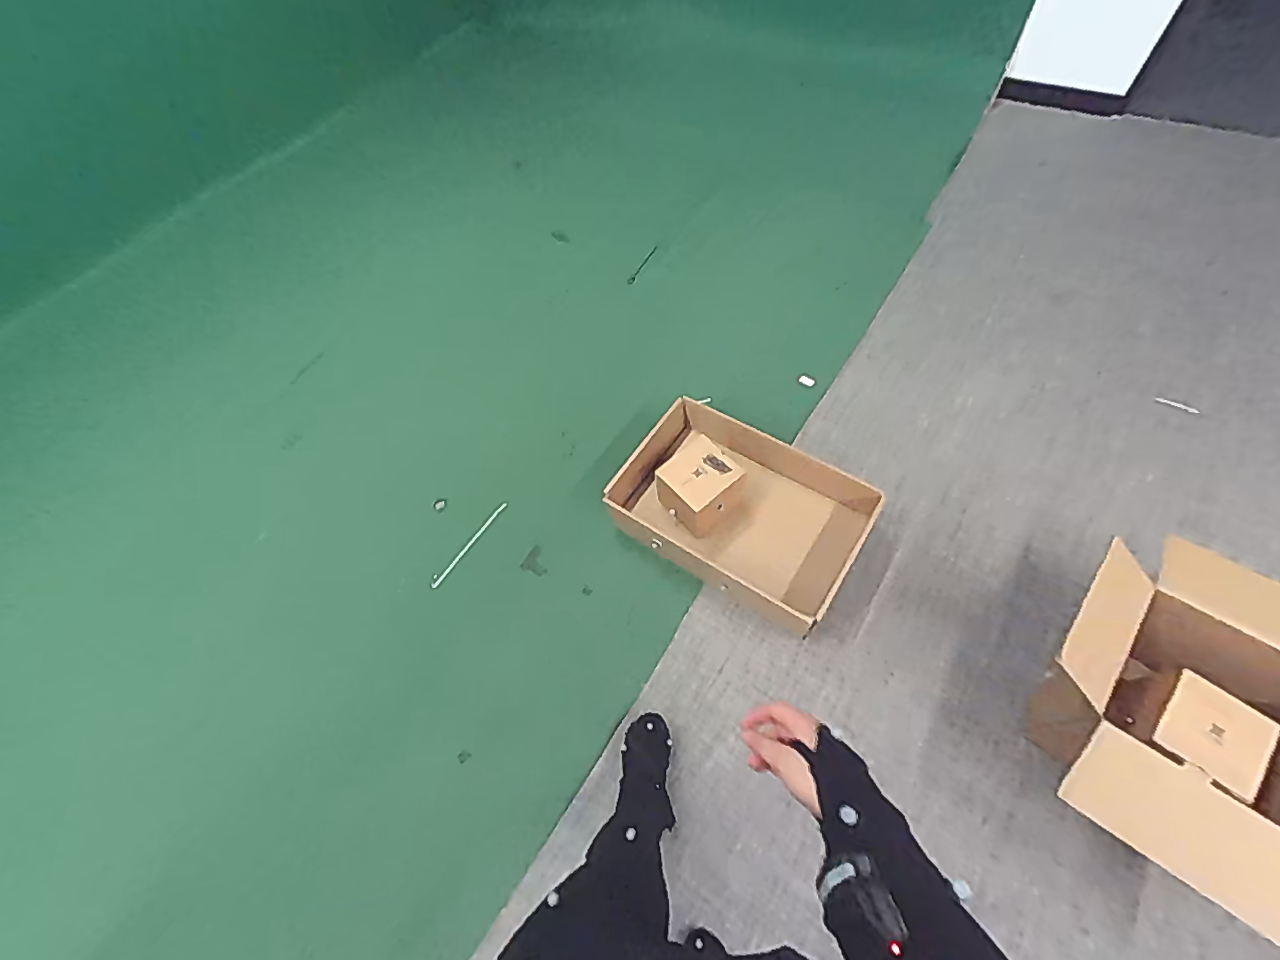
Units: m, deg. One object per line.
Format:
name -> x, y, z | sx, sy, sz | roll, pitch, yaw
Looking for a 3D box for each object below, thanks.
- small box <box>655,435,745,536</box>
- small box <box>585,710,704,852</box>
small box -> 0.159, 0.018, 1.465 | 0.179, 0.176, 0.168 | -38, 64, -15
small box -> 0.016, 0.634, 1.157 | 0.179, 0.168, 0.176 | -28, 96, -28
